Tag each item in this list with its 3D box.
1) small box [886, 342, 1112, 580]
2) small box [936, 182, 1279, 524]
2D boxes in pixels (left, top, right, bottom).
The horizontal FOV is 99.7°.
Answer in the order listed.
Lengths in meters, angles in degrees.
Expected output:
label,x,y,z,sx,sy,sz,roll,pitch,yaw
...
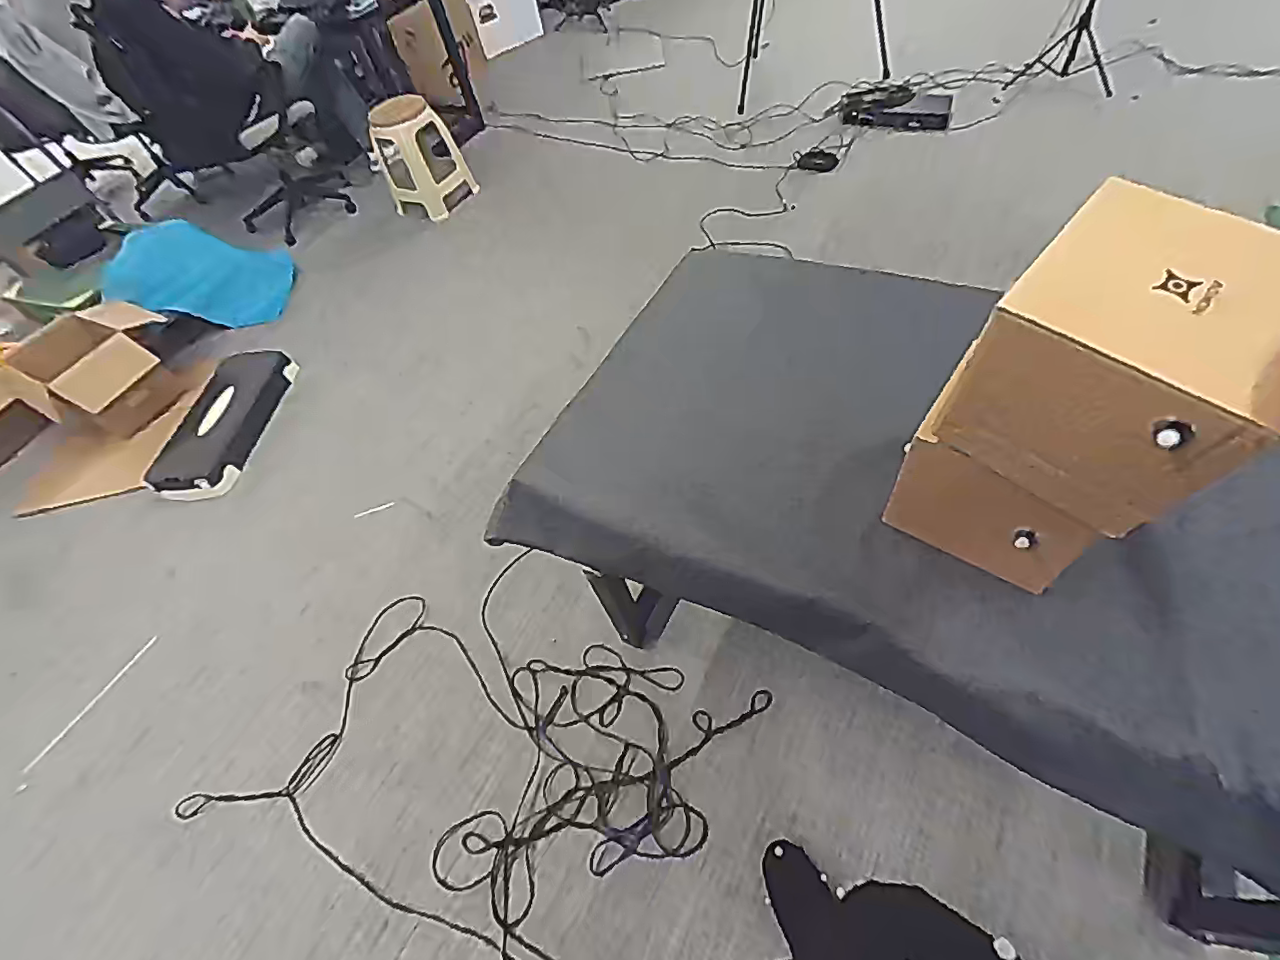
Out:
label,x,y,z,sx,sy,sz,roll,pitch,yaw
small box,0.402,-0.014,0.593,0.179,0.176,0.168,29,64,28
small box,0.381,-0.093,0.437,0.179,0.176,0.168,40,75,24
